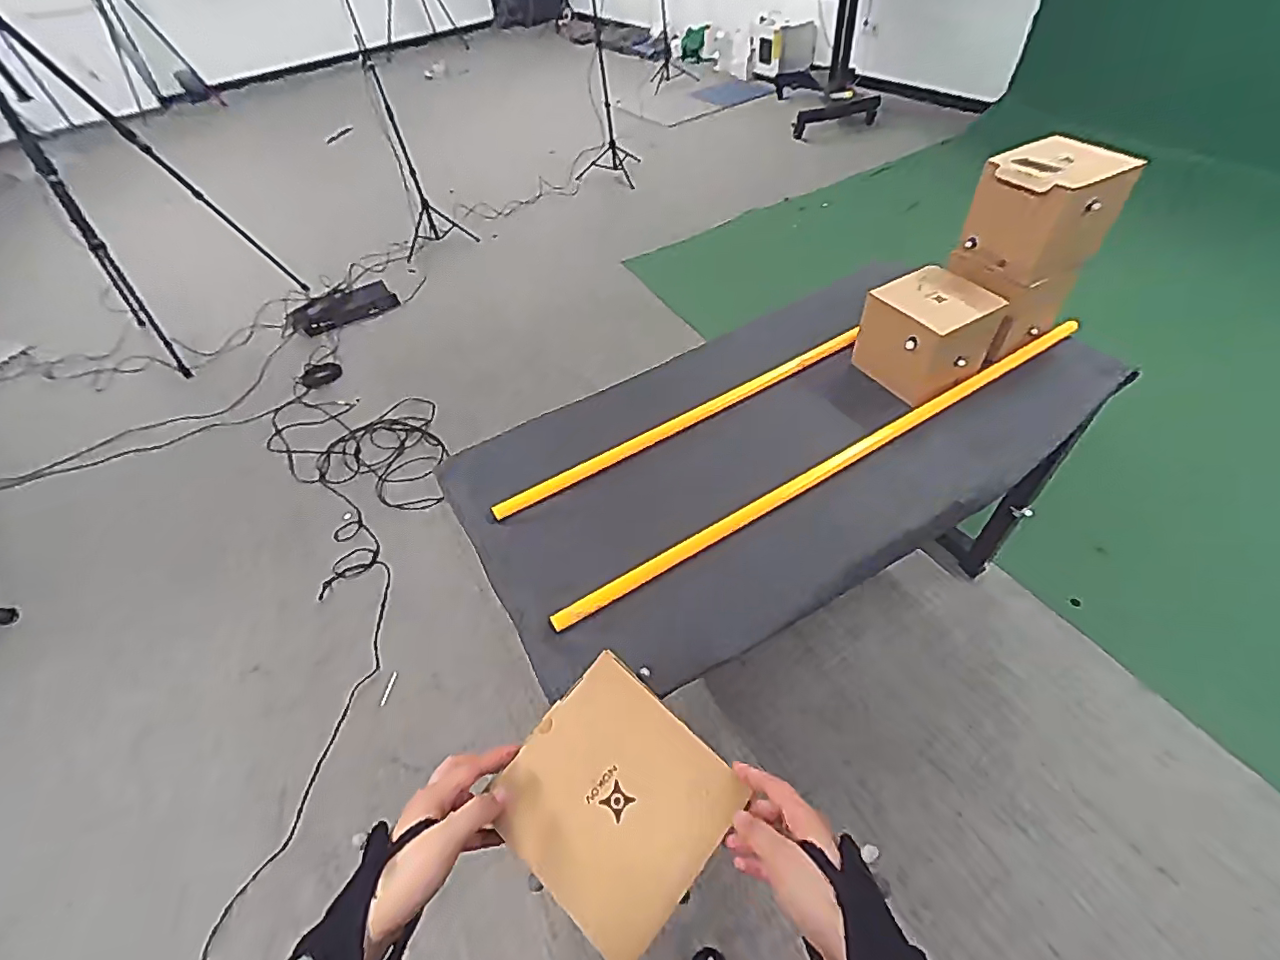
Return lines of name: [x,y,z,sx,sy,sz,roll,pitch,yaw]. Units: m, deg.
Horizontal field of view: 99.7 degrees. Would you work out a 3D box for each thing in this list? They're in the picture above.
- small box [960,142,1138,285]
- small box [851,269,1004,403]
small box: [0.720,-0.480,0.981,0.179,0.176,0.168,-24,51,-13]
small box: [0.541,-0.271,1.043,0.168,0.176,0.179,-25,51,-15]
